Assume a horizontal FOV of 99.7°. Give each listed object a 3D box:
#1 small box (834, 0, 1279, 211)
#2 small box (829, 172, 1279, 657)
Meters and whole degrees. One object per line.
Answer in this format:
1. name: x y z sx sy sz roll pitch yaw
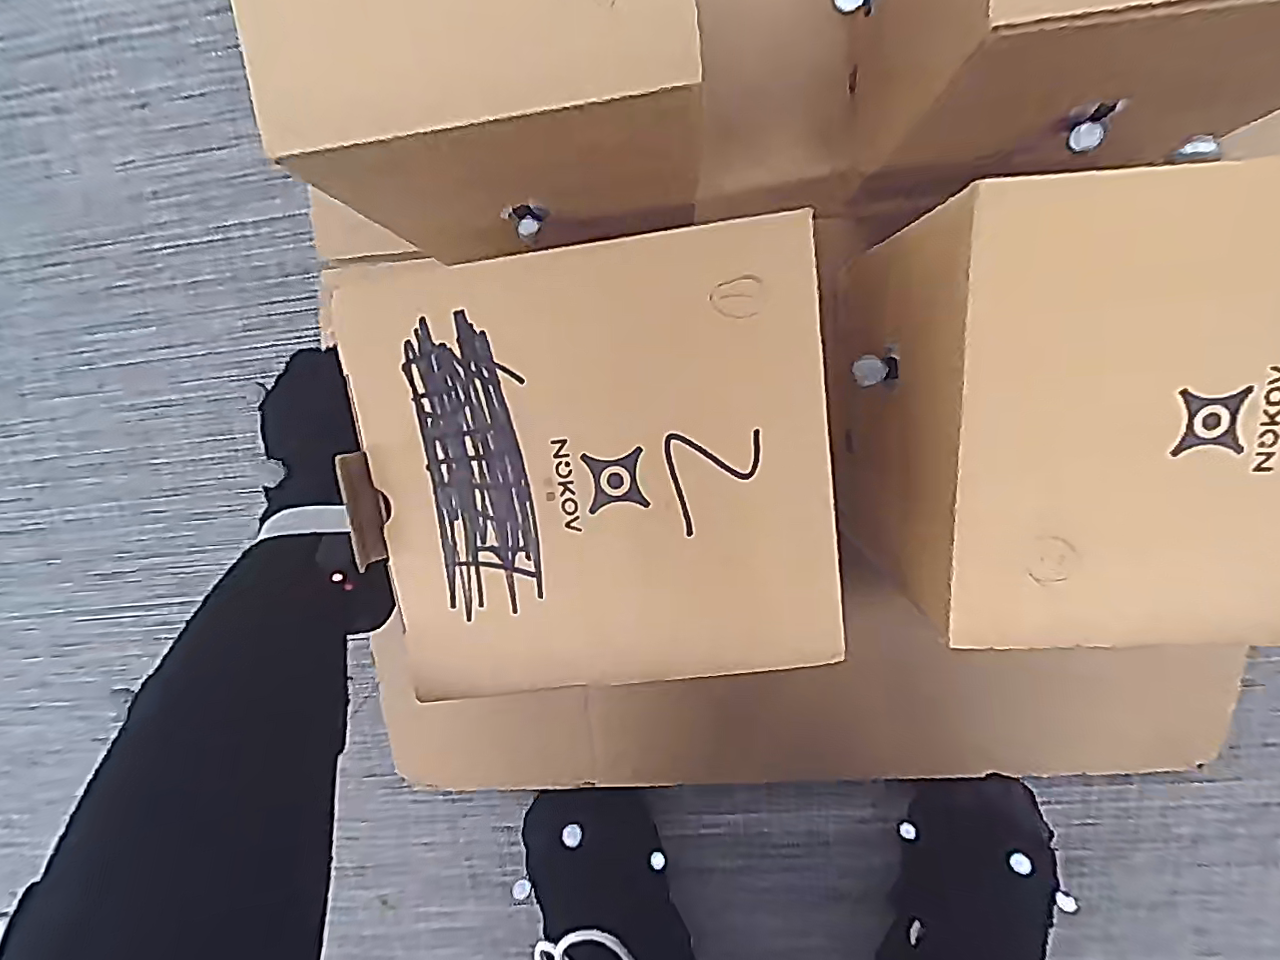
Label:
1. small box: 0.199 -0.237 0.240 0.179 0.176 0.168 -2 98 6
2. small box: 0.199 -0.032 0.263 0.179 0.176 0.168 -2 102 5
